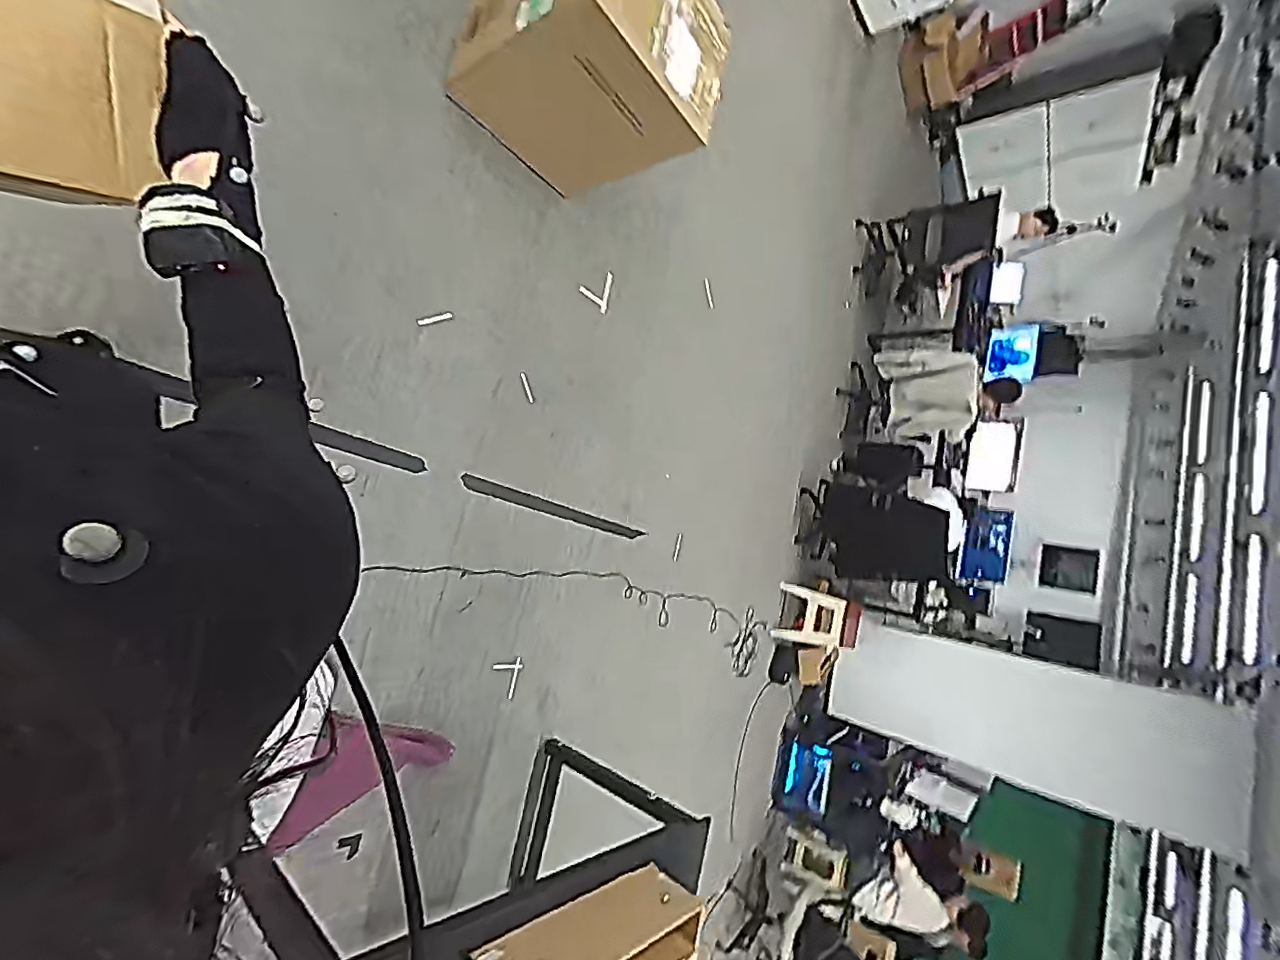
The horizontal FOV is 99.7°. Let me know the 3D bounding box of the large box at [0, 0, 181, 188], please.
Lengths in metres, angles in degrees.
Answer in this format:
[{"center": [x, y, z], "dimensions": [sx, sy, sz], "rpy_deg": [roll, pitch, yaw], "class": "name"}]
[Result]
[{"center": [-0.634, -0.424, 0.369], "dimensions": [0.408, 0.320, 0.320], "rpy_deg": [-14, 119, -56], "class": "large box"}]
